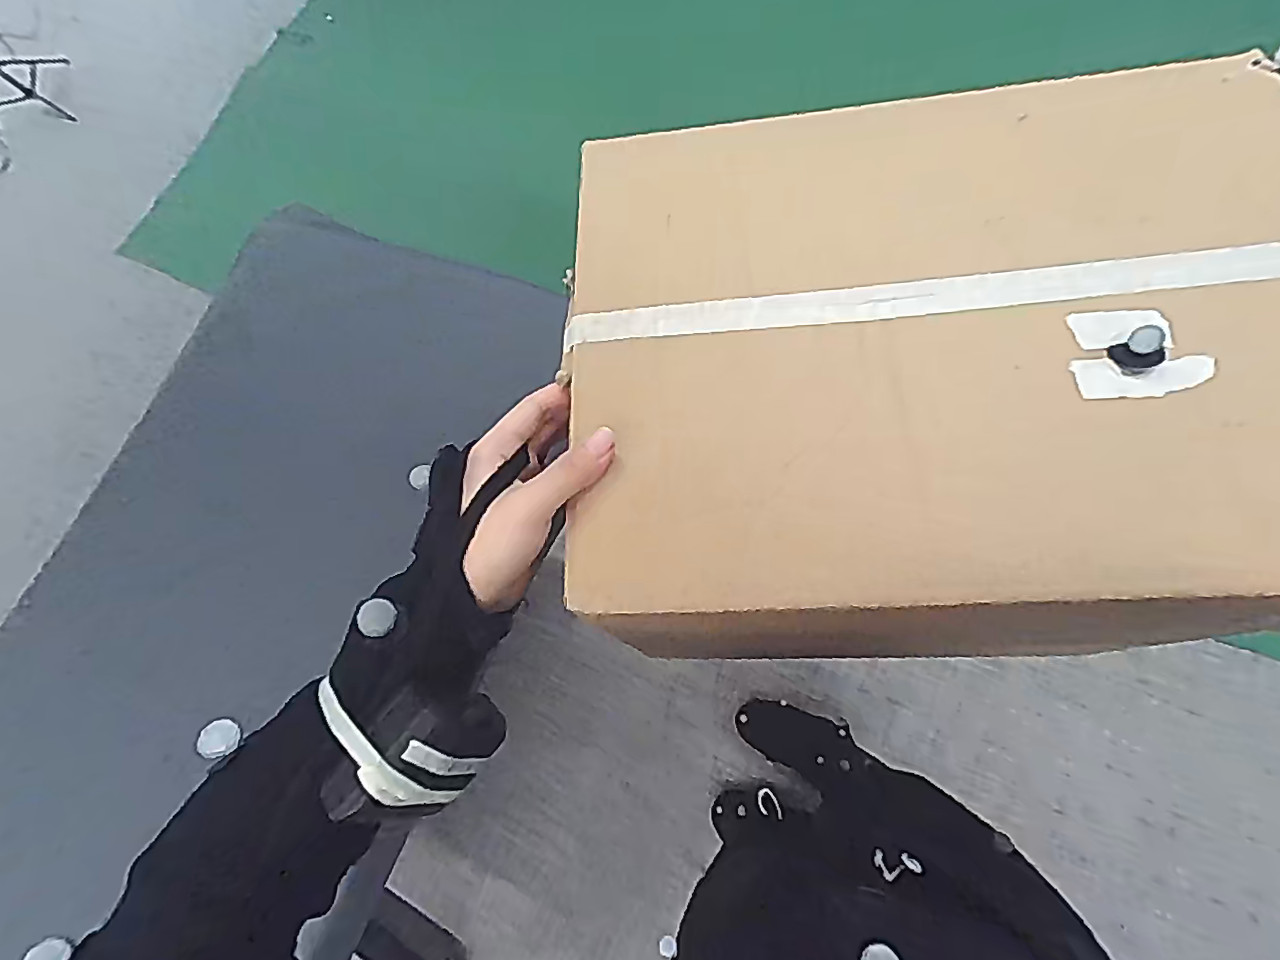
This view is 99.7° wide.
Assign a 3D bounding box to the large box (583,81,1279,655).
[{"bbox_3d":[0.181,-0.040,0.435,0.408,0.320,0.320,-3,67,6],"label":"large box"}]
